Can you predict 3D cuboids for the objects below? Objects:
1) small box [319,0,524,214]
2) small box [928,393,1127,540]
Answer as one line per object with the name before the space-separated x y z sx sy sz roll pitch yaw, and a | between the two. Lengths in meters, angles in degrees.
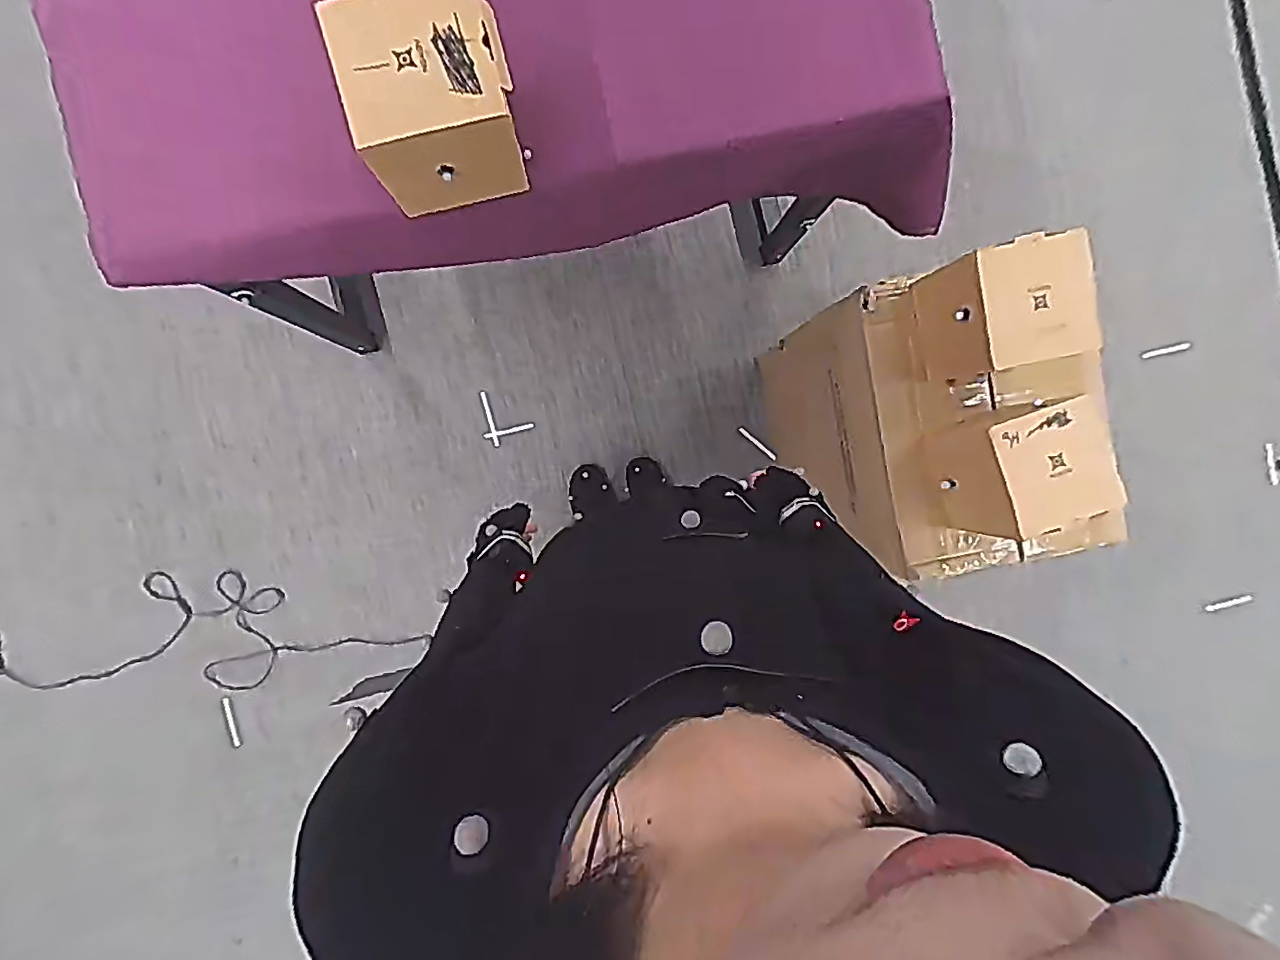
small box | -0.253 -0.465 0.676 0.179 0.176 0.168 -15 92 -3
small box | 0.594 -0.023 0.850 0.168 0.176 0.179 -19 92 -2
